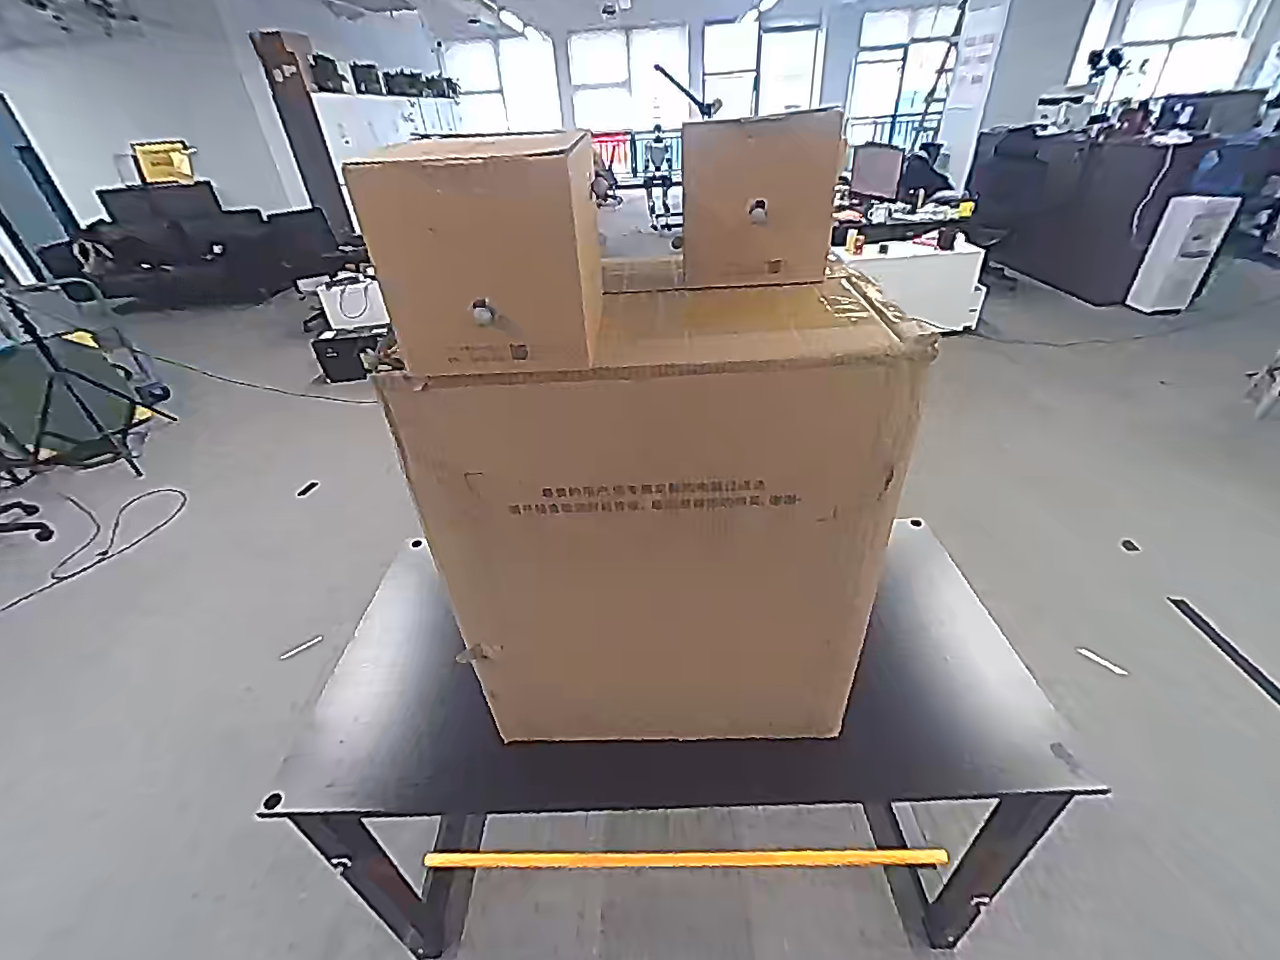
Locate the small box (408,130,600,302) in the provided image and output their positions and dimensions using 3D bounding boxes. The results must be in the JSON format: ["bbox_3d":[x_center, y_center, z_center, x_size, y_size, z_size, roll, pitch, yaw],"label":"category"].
[{"bbox_3d":[-0.148,-0.322,0.661,0.179,0.176,0.168,-1,34,2],"label":"small box"}]
